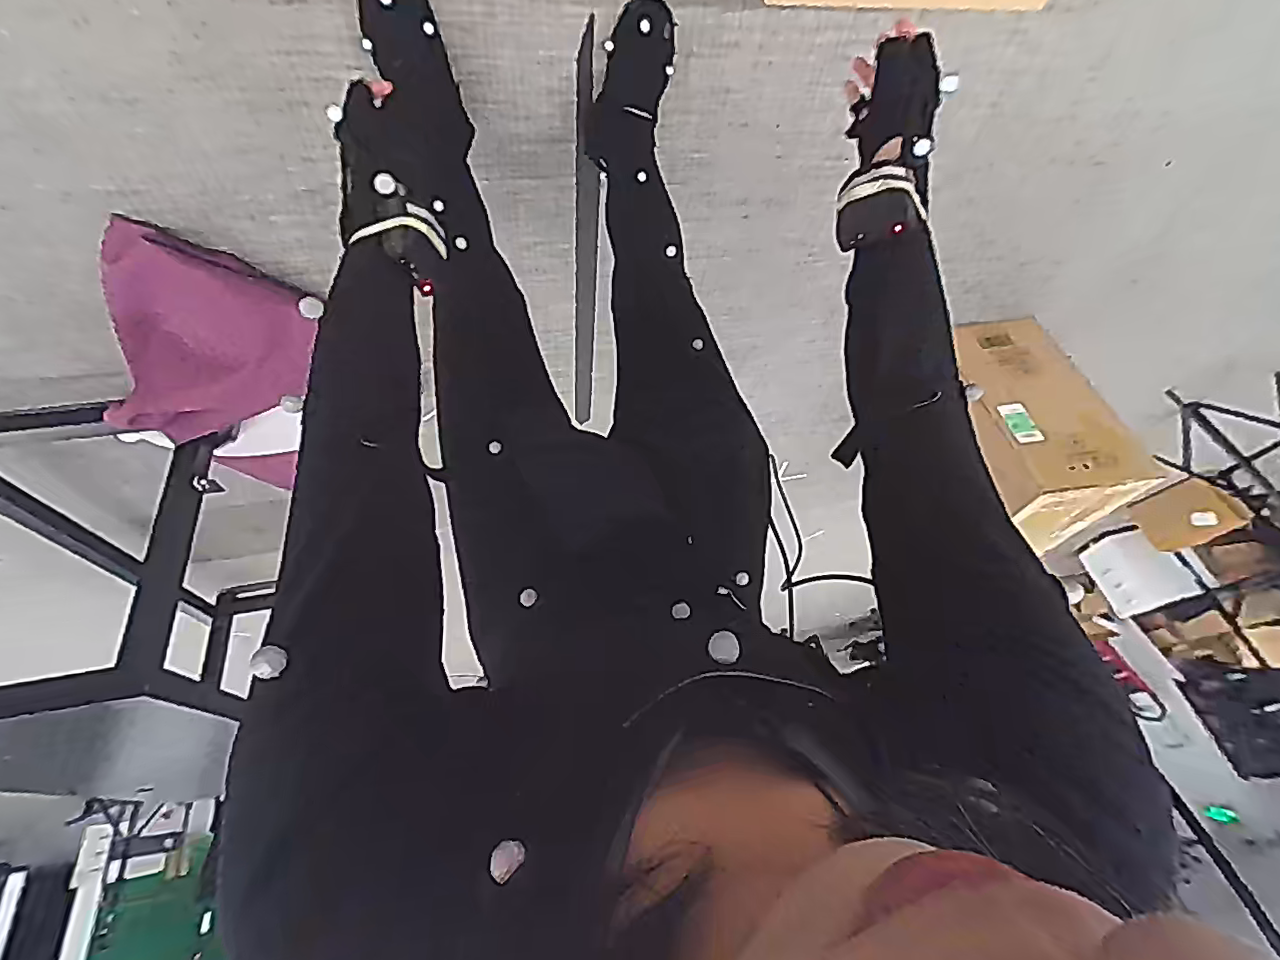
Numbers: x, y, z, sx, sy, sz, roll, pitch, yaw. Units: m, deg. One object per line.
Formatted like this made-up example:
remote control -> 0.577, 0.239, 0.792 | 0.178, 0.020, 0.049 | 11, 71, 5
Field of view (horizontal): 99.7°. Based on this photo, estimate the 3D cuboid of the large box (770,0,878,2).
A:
large box -> 0.311, -0.814, 0.633 | 0.408, 0.320, 0.320 | -9, 150, -11
